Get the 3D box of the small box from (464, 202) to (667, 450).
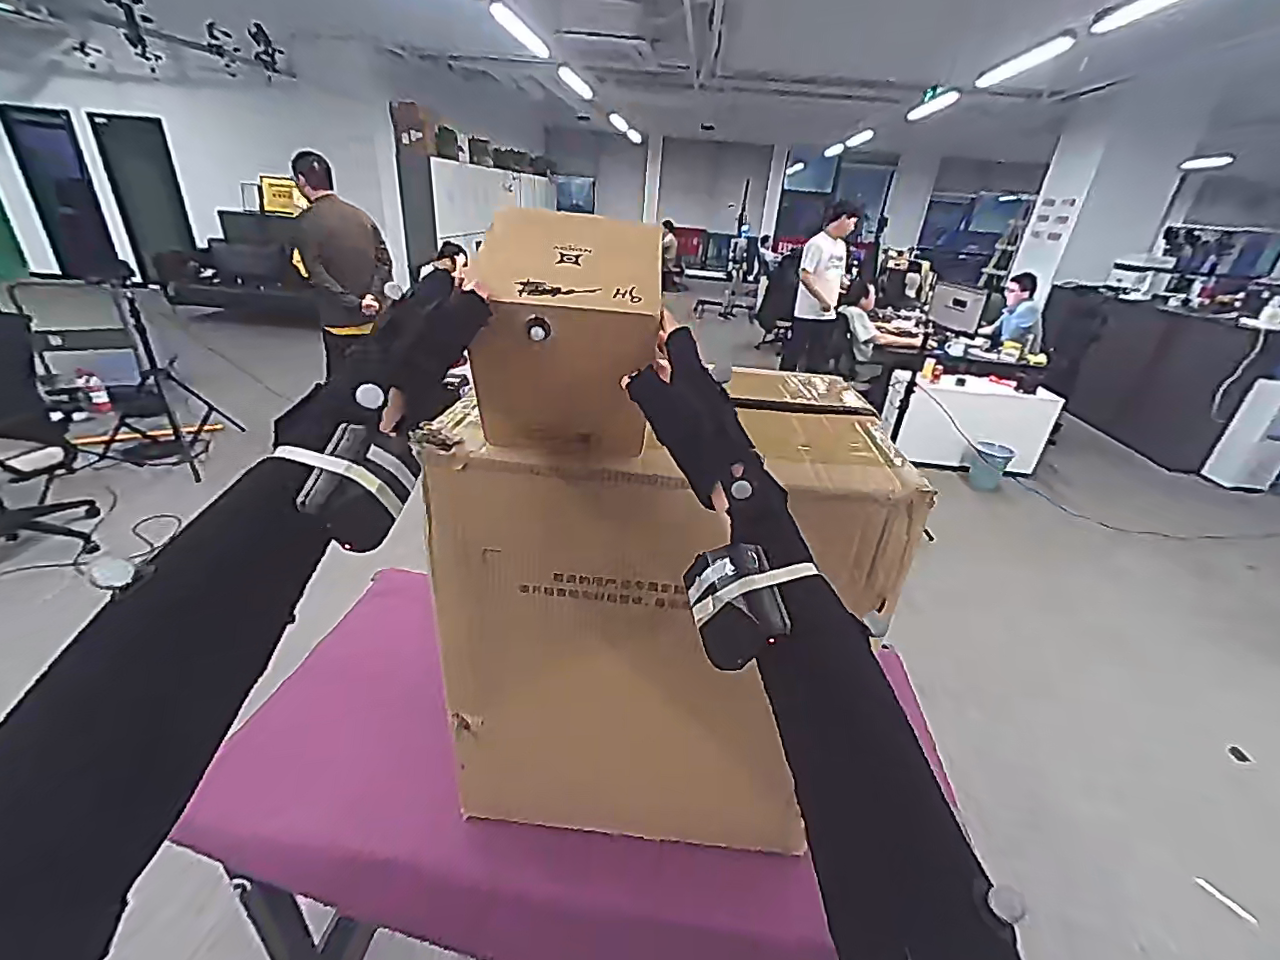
[{"bbox_3d":[-0.065,-0.155,0.548,0.168,0.176,0.179,4,47,-2],"label":"small box"}]
